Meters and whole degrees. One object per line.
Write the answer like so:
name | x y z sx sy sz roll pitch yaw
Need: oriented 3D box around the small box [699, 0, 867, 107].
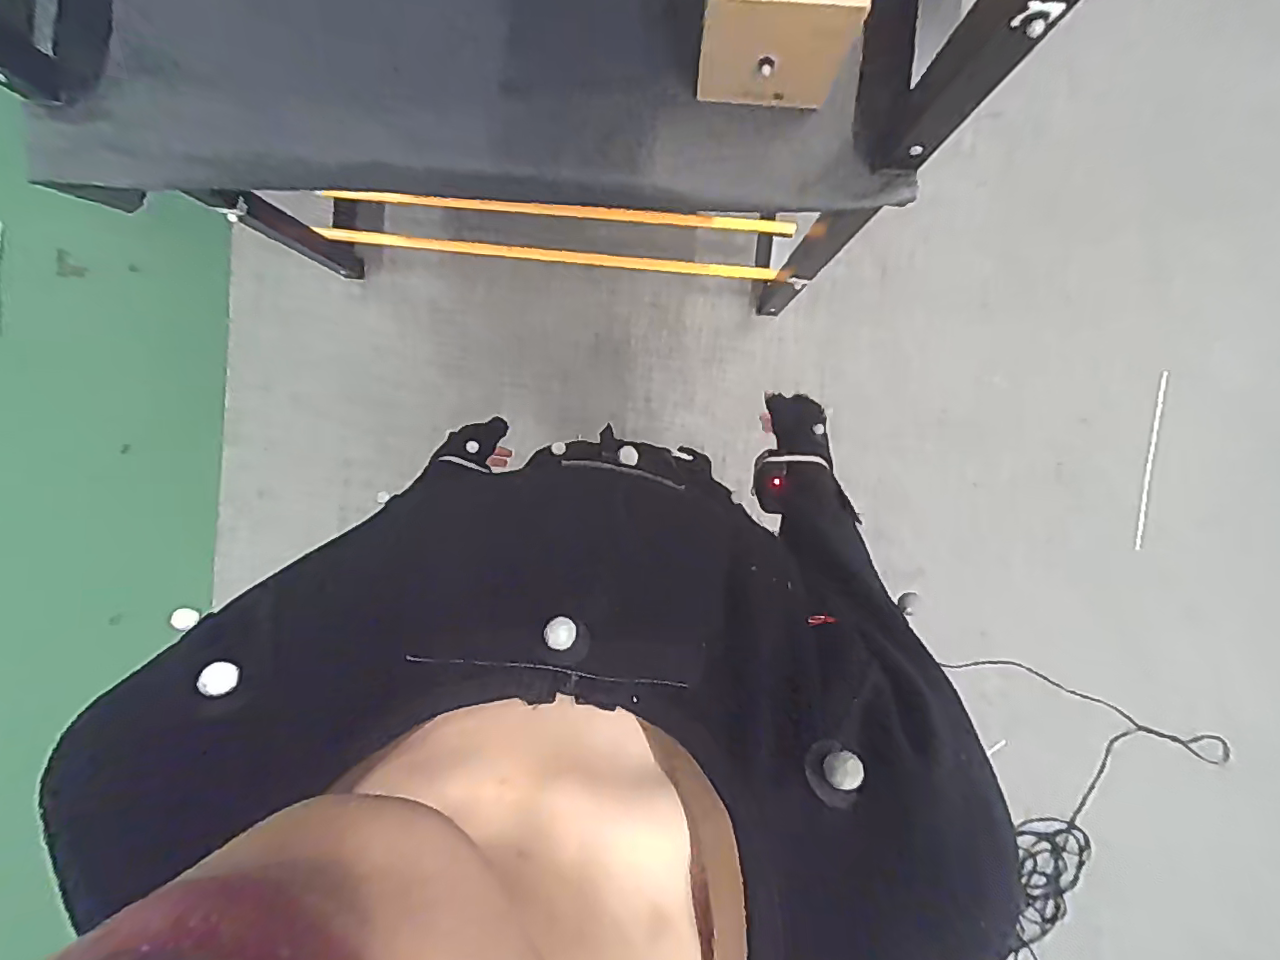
small box | 0.161 -0.573 0.626 0.168 0.176 0.179 5 93 1
